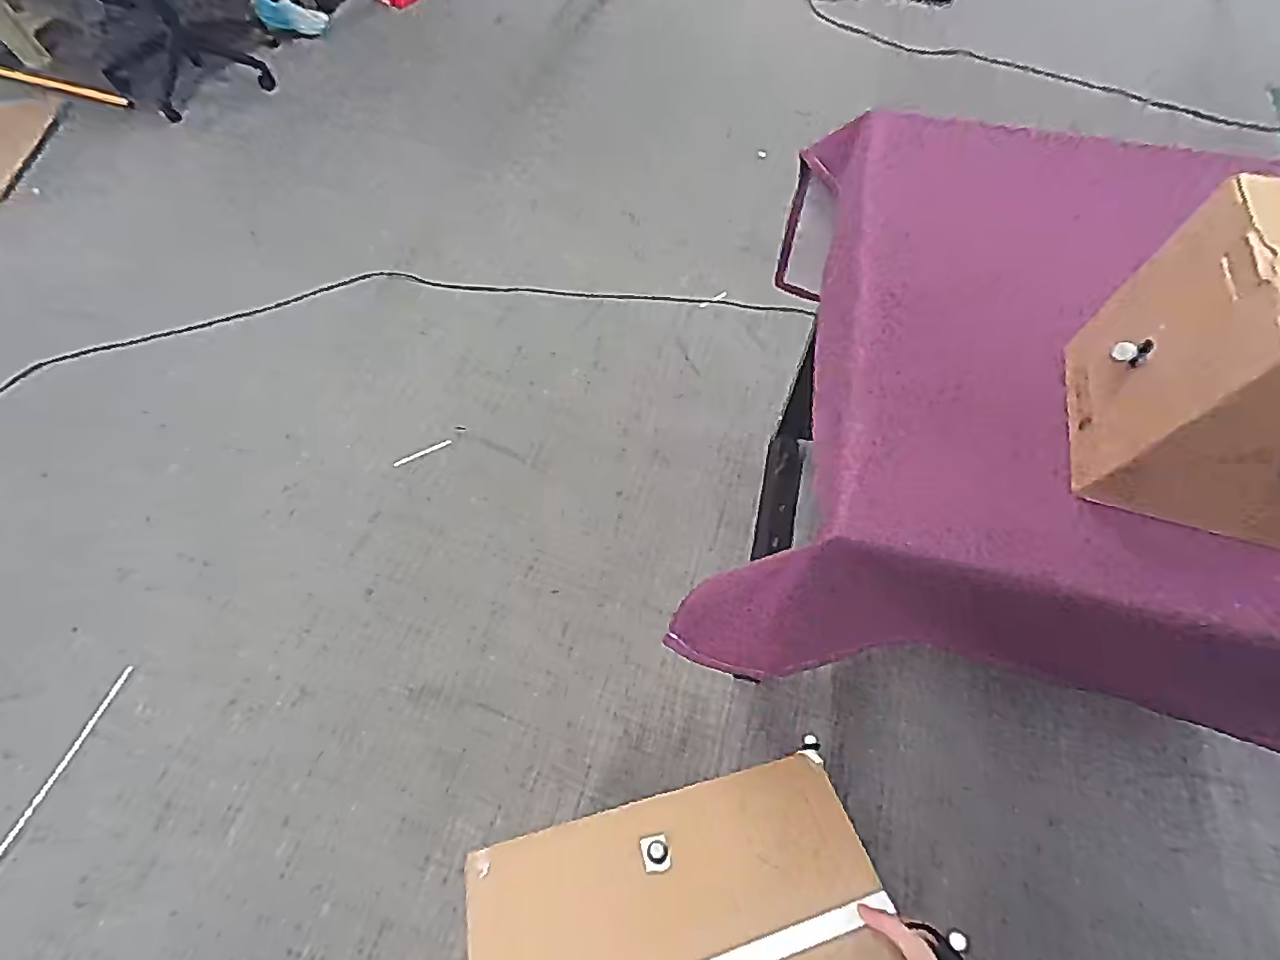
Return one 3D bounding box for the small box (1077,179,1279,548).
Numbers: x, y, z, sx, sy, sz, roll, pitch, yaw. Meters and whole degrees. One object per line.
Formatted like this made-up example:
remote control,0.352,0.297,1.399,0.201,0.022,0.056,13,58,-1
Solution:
small box,0.442,-0.069,0.372,0.179,0.176,0.168,15,63,10
